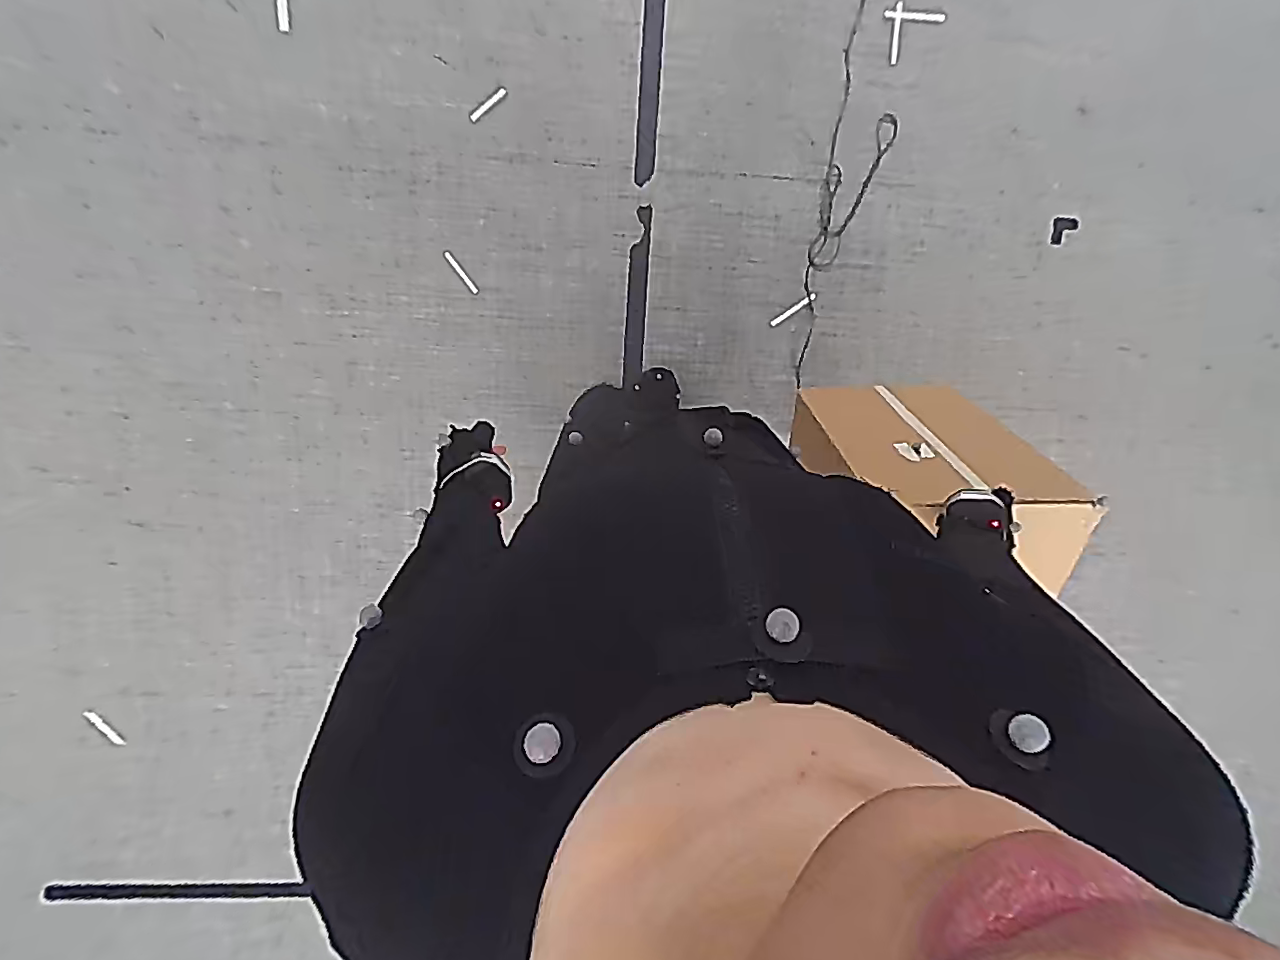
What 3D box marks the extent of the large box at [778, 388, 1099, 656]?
[{"bbox_3d":[0.469,0.056,0.981,0.320,0.408,0.320,-2,123,-1],"label":"large box"}]
